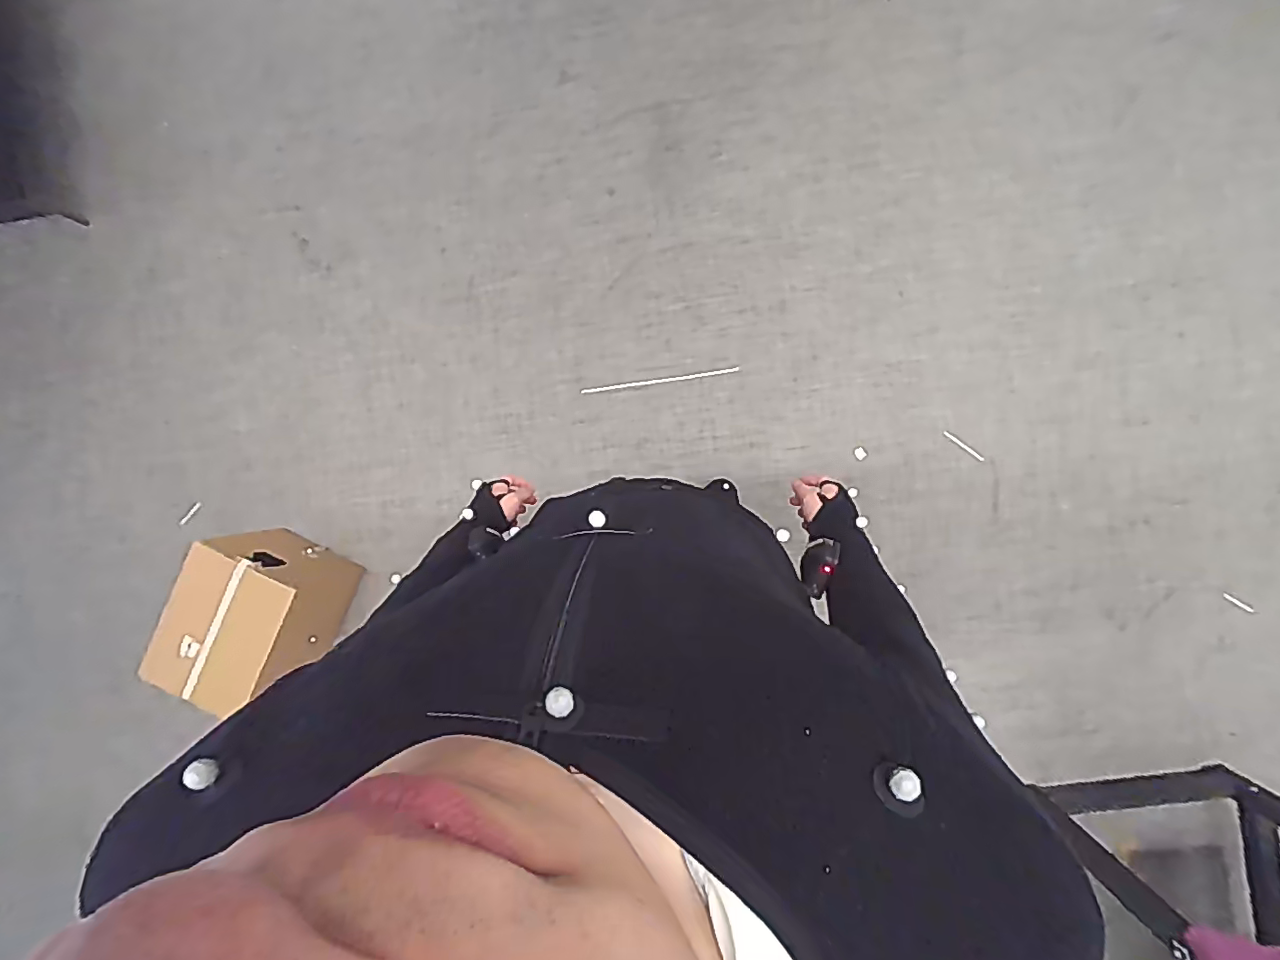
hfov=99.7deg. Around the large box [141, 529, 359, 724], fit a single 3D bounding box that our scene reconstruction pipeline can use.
[{"bbox_3d":[-1.098,0.395,1.563,0.320,0.320,0.408,25,93,3],"label":"large box"}]
